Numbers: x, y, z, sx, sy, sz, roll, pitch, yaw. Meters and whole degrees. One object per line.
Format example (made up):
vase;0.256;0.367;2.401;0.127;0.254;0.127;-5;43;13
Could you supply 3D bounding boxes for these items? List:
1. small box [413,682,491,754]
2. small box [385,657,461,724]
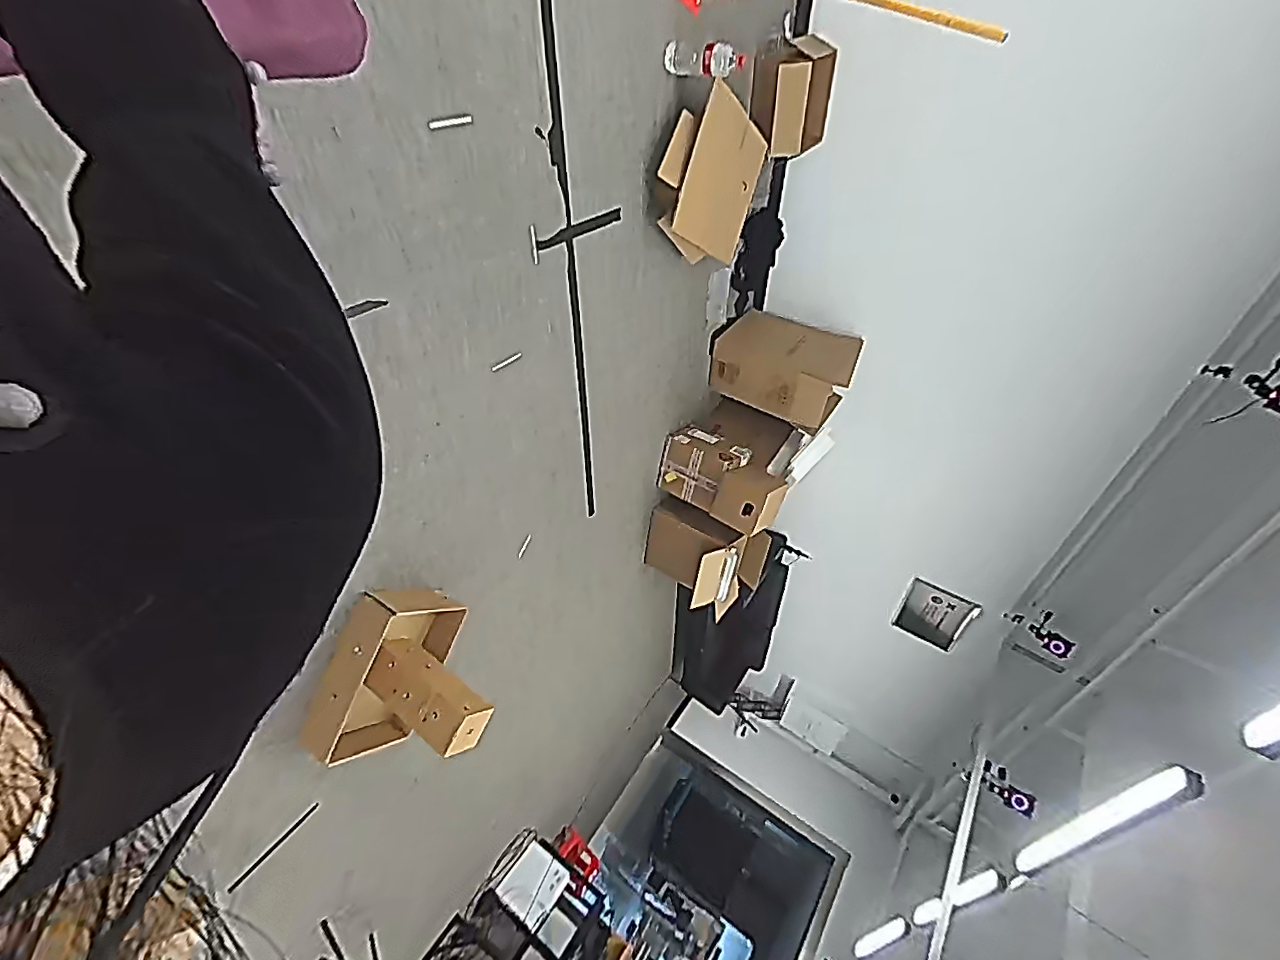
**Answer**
small box;-0.692;0.865;1.991;0.168;0.176;0.179;-63;156;-1
small box;-0.825;0.792;2.050;0.168;0.176;0.179;-63;155;-2
